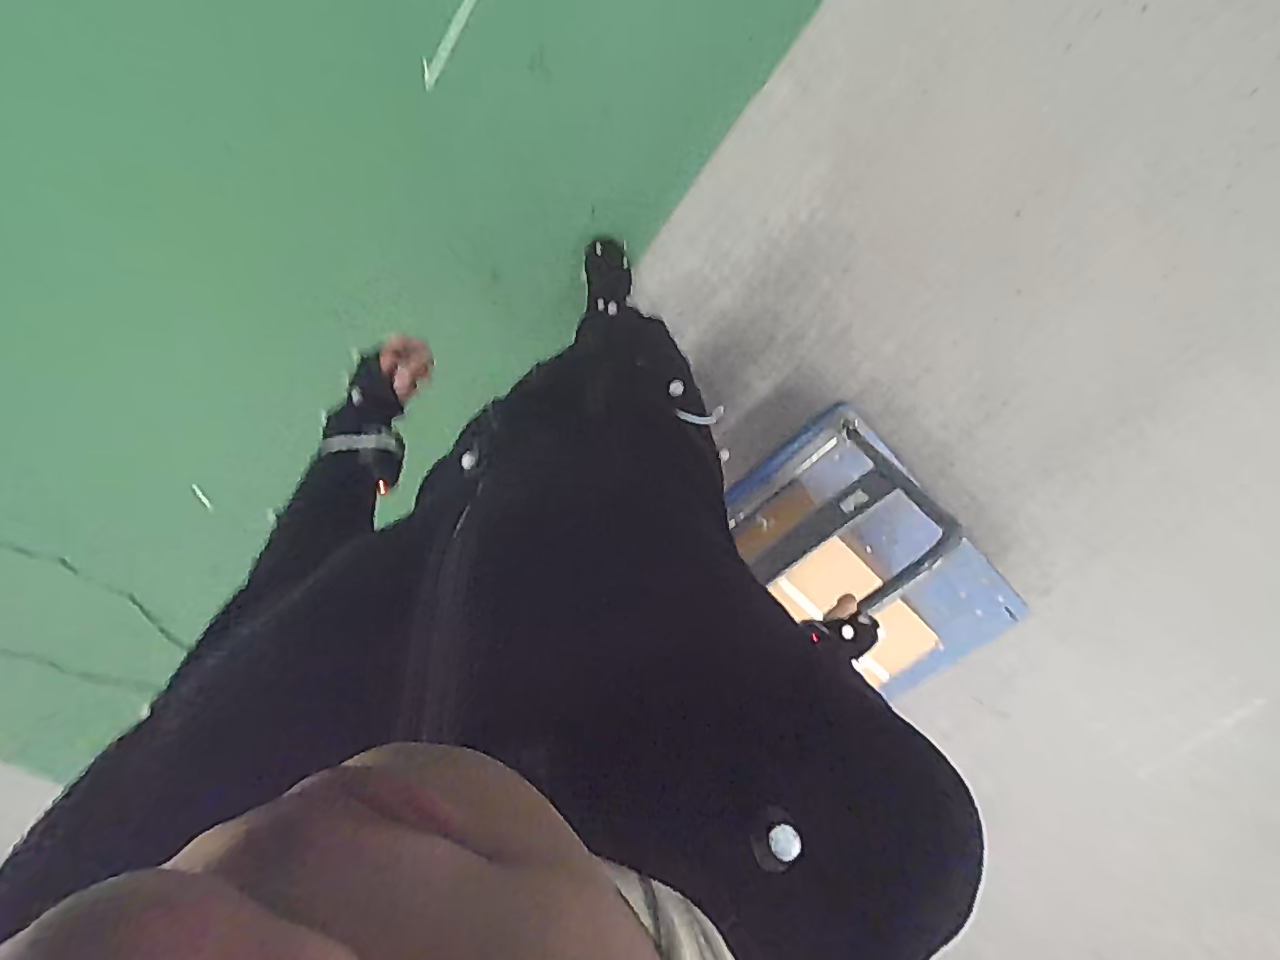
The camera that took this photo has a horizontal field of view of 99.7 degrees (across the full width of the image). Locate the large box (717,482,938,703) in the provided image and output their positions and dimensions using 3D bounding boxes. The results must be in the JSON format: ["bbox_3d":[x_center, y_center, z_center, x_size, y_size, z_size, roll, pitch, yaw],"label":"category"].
[{"bbox_3d":[0.458,0.279,1.406,0.408,0.320,0.320,42,108,-13],"label":"large box"}]
